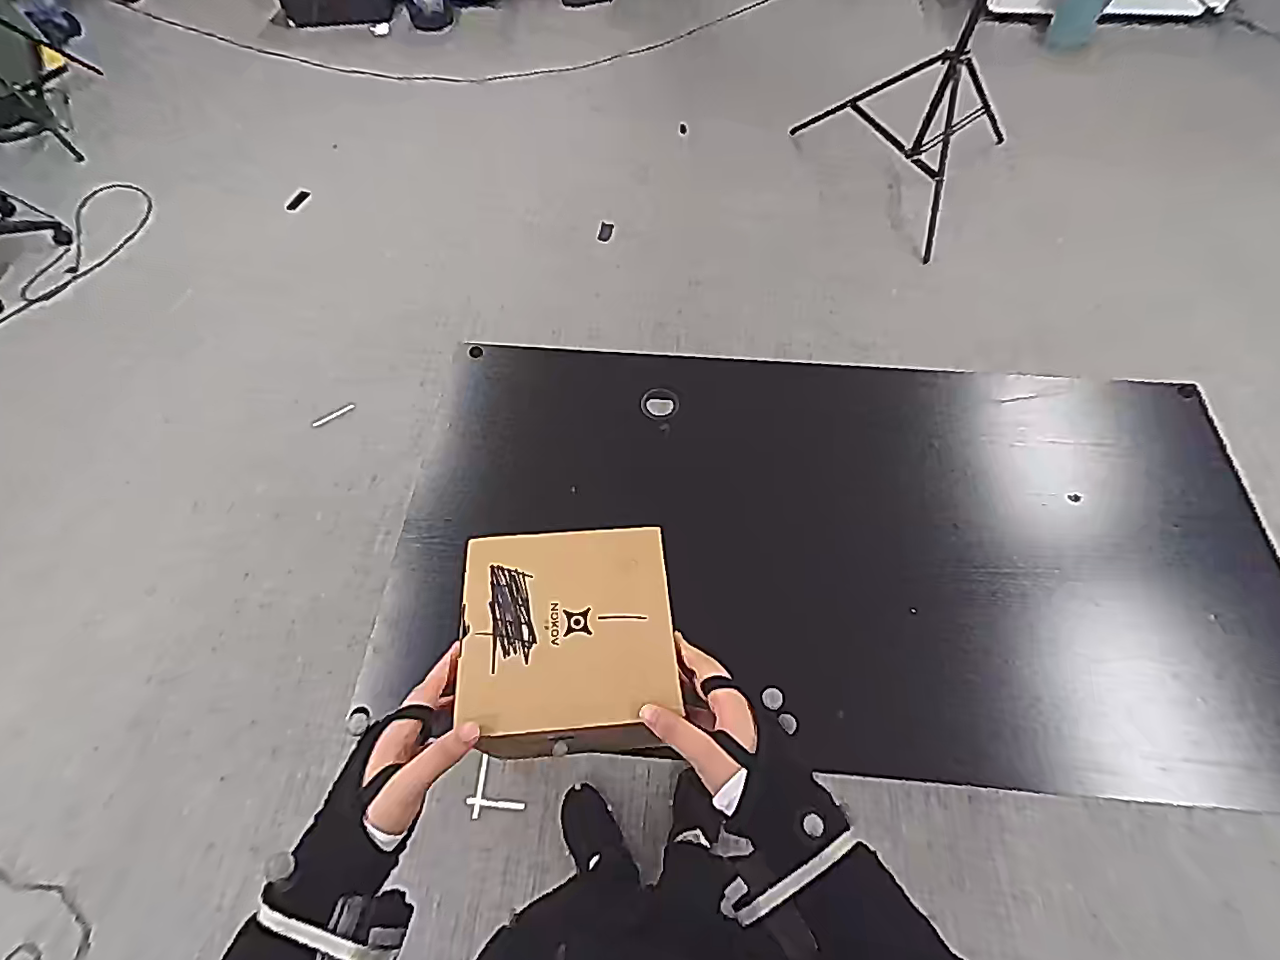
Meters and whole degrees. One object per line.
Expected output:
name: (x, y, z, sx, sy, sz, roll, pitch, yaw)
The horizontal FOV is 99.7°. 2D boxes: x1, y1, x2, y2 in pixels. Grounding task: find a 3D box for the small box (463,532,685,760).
small box: (-0.055, 0.167, 0.526, 0.179, 0.176, 0.168, -4, 57, -3)
